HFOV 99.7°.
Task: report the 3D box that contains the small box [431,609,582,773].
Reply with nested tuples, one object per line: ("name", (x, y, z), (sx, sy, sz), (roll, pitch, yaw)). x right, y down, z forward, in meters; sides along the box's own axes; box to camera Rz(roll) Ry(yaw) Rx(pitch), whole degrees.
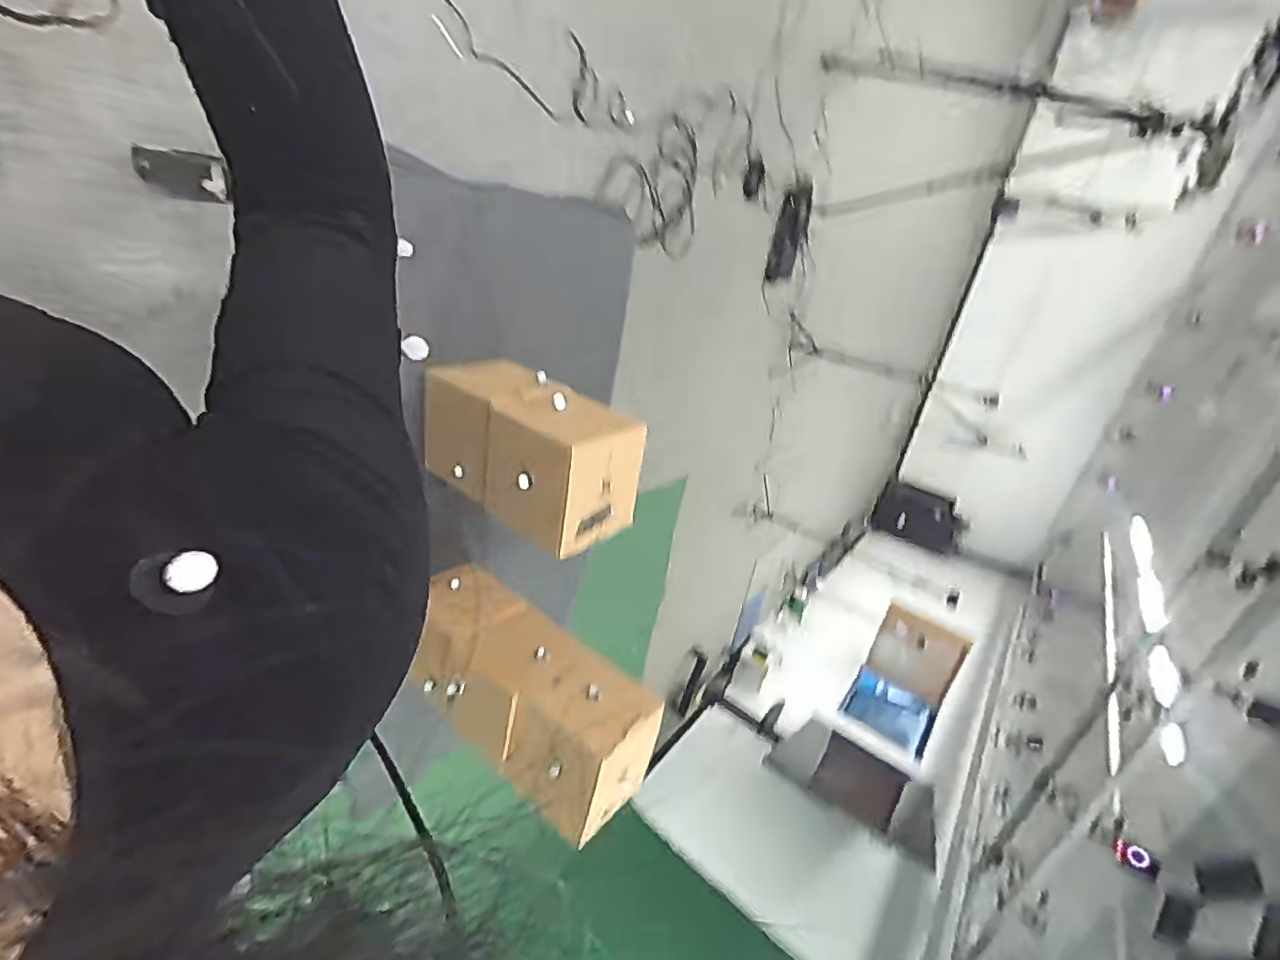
("small box", (-0.231, 0.349, 0.936), (0.179, 0.176, 0.168), (-14, 122, -52))

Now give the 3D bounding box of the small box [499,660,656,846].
("small box", (-0.101, 0.412, 0.857), (0.168, 0.176, 0.179), (-12, 121, -54))

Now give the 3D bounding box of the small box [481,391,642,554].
("small box", (-0.123, -0.021, 0.819), (0.168, 0.176, 0.179), (-22, 130, -49))

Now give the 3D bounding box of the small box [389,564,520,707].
("small box", (-0.354, 0.287, 1.022), (0.168, 0.176, 0.179), (-18, 127, -53))
